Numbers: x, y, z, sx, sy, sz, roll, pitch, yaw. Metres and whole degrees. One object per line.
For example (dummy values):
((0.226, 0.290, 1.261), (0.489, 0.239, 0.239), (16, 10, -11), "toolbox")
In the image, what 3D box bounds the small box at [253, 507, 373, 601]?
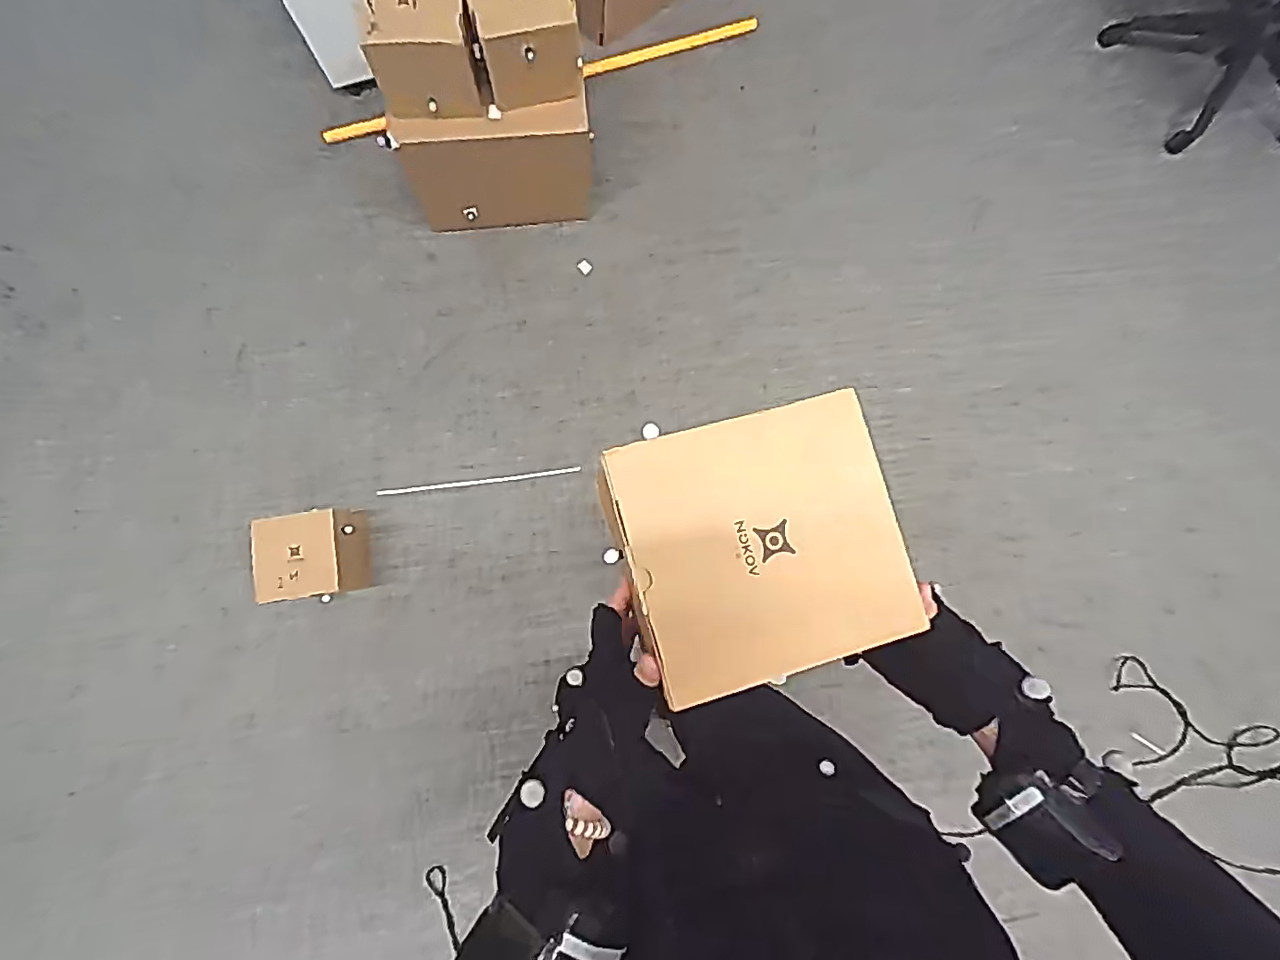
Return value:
((-0.707, 0.161, 1.182), (0.168, 0.176, 0.179), (-8, 84, -5), "small box")

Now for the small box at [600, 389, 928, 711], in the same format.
((0.073, 0.046, 0.416), (0.179, 0.176, 0.168), (-16, 86, -6), "small box")
